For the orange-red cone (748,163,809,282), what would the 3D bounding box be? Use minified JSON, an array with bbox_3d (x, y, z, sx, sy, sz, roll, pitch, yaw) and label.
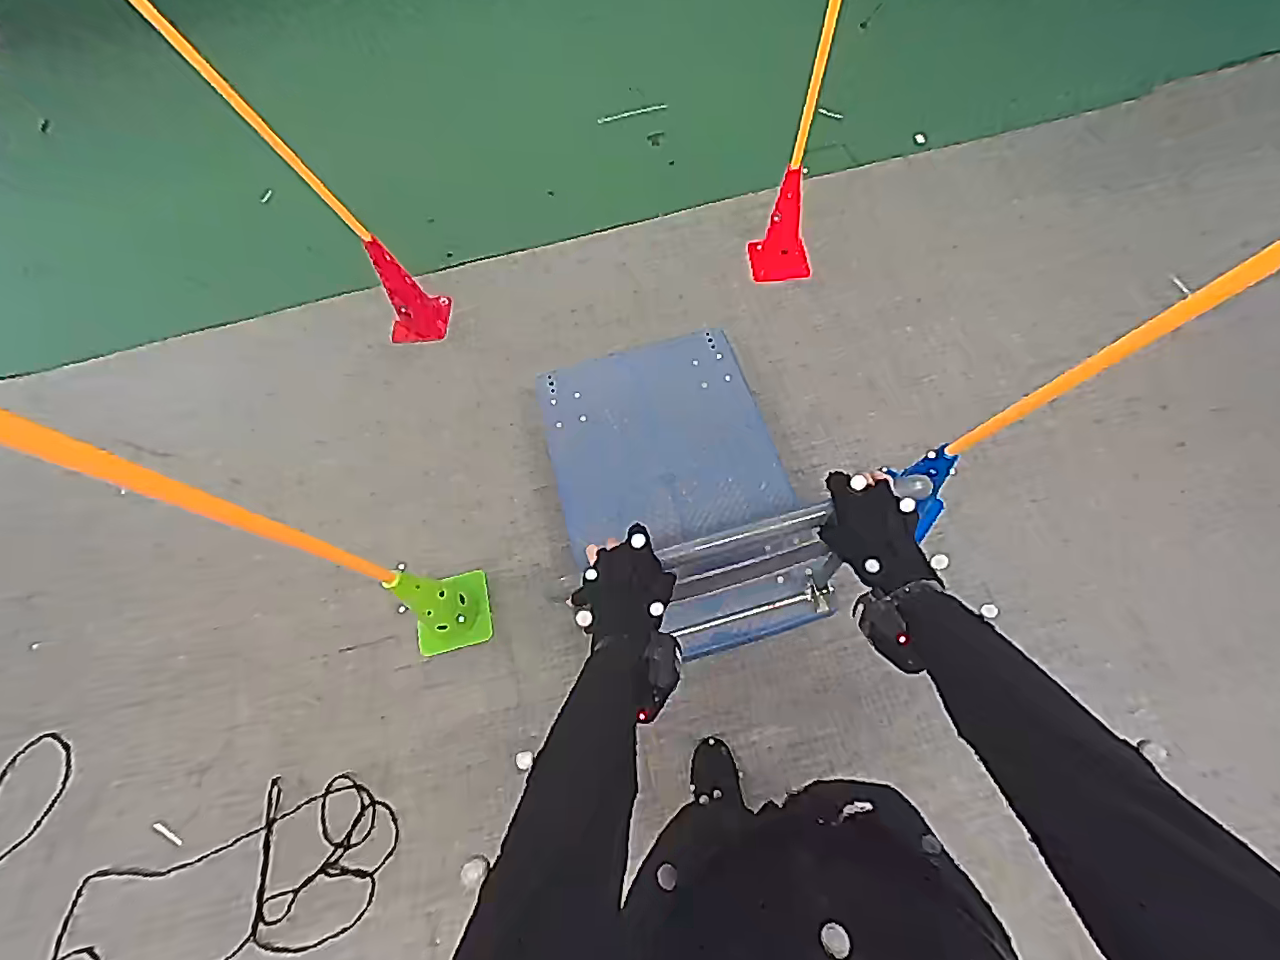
[{"bbox_3d":[0.470,-0.848,1.750,0.198,0.360,0.199,-4,66,5],"label":"orange-red cone"}]
